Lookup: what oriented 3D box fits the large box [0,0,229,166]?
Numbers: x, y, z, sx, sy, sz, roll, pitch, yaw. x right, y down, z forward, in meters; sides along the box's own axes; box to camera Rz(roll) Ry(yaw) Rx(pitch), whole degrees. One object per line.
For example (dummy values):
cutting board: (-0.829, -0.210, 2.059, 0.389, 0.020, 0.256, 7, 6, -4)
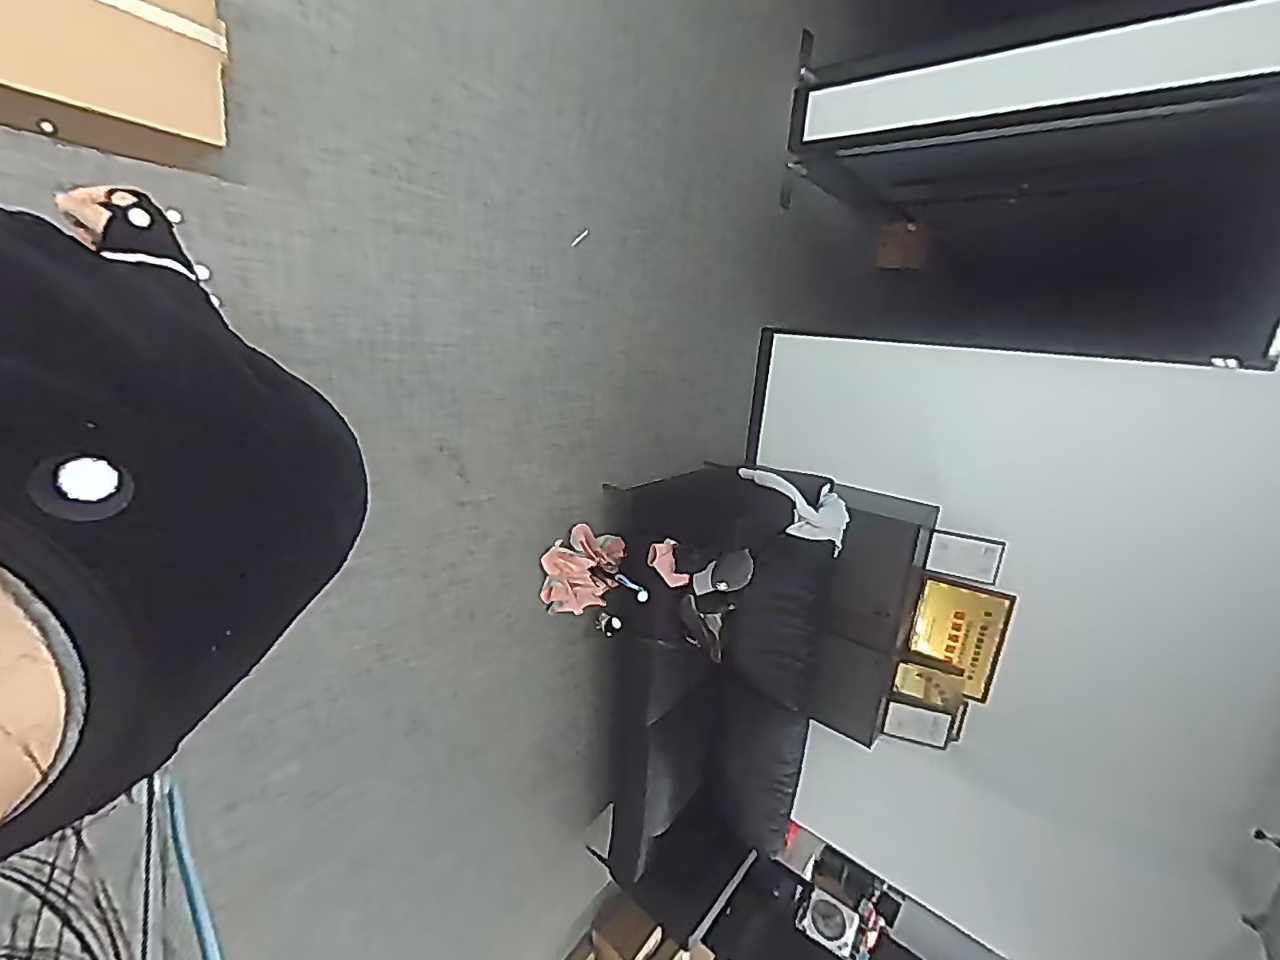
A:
large box: (-0.940, -0.729, 0.846, 0.408, 0.320, 0.320, -11, 111, -48)
